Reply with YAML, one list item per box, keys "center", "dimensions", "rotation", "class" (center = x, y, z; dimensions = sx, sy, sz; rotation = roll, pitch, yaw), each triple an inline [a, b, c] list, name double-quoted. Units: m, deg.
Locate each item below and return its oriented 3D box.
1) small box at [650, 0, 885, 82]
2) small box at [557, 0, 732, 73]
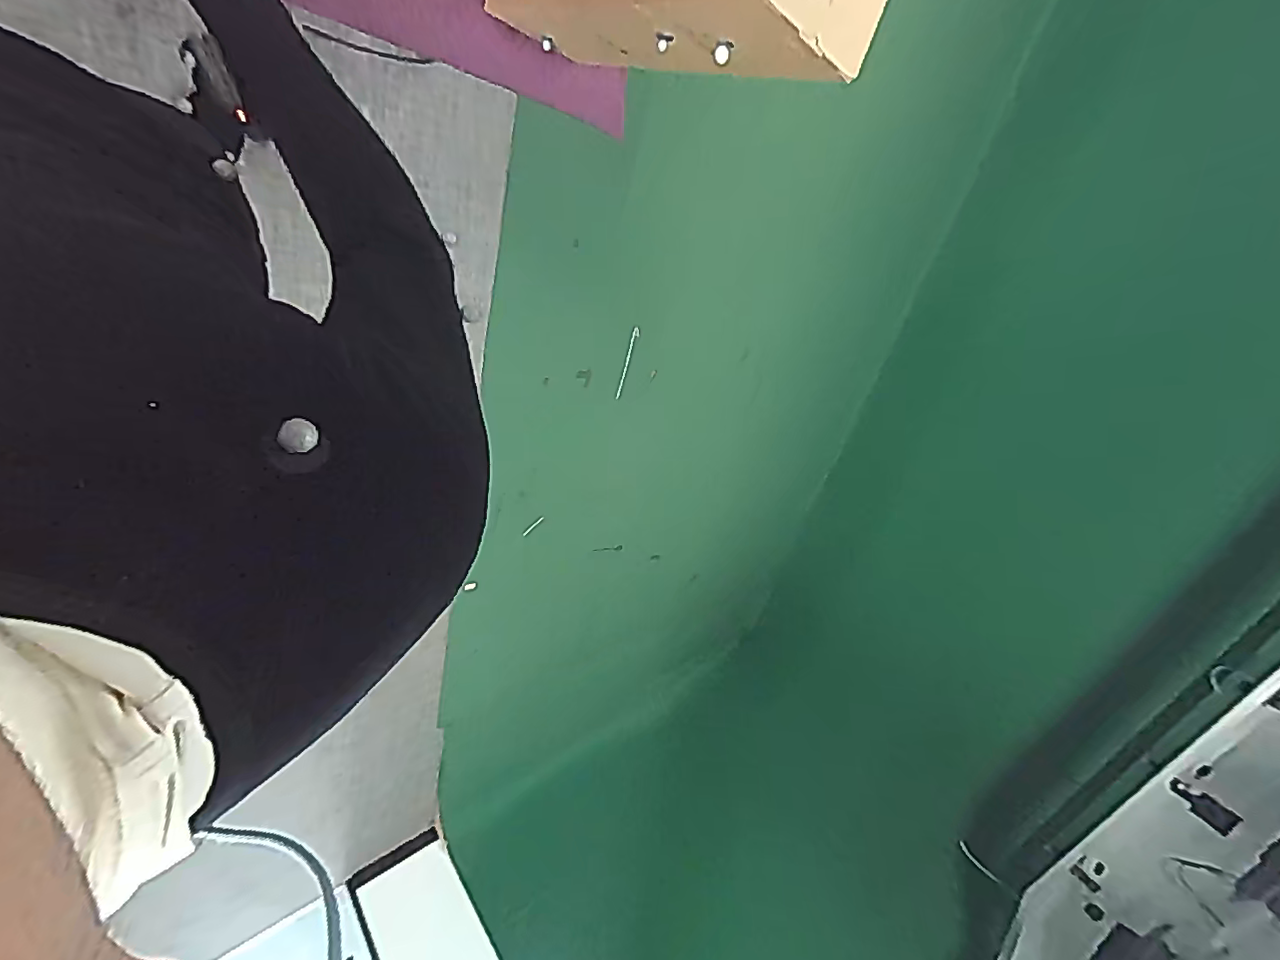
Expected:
- center: [0.132, -0.514, 0.508]
  dimensions: [0.168, 0.176, 0.179]
  rotation: [-5, 124, -44]
  class: "small box"
- center: [0.026, -0.595, 0.606]
  dimensions: [0.168, 0.176, 0.179]
  rotation: [-6, 124, -43]
  class: "small box"
